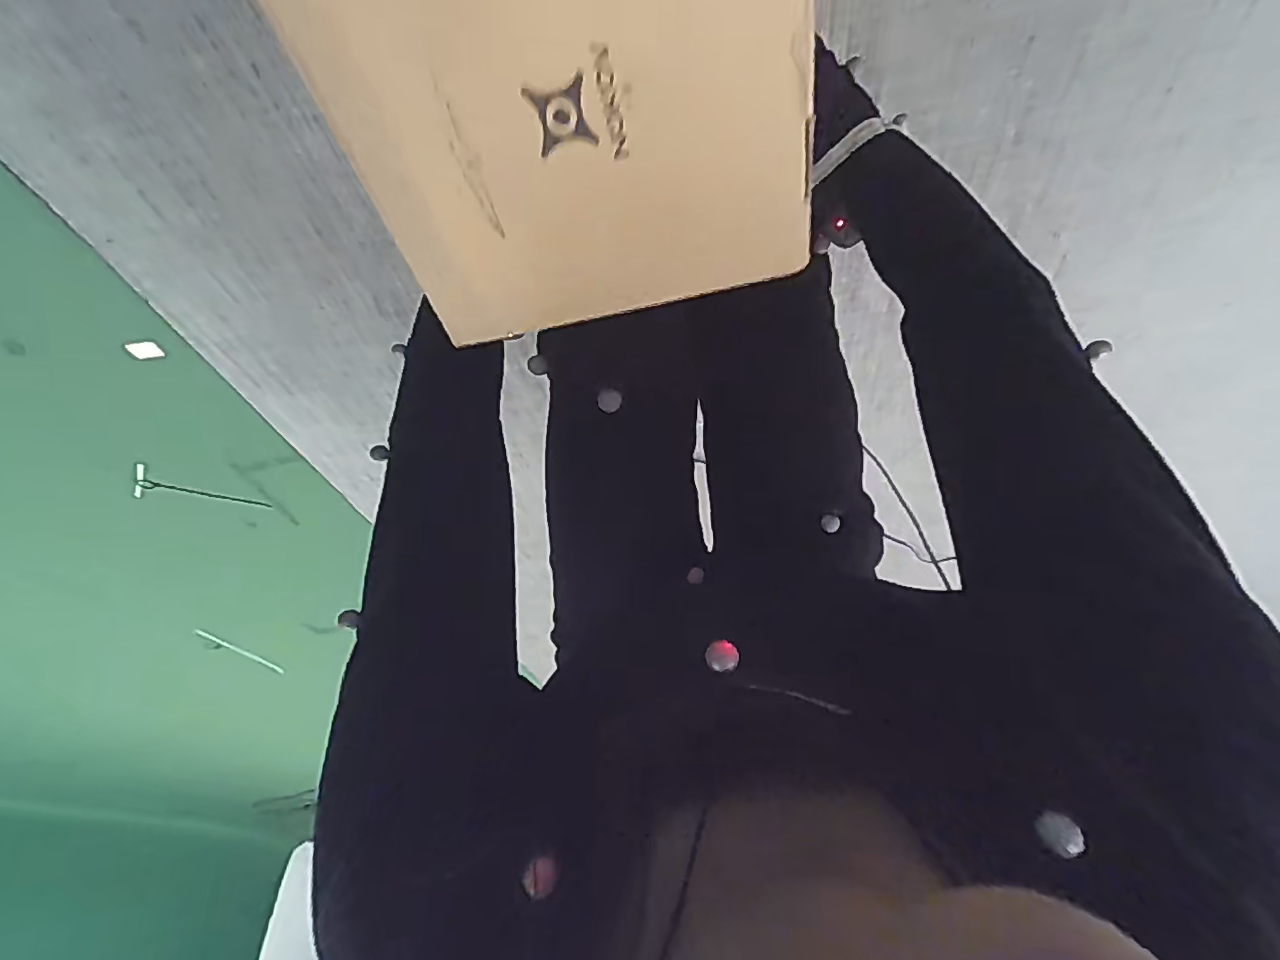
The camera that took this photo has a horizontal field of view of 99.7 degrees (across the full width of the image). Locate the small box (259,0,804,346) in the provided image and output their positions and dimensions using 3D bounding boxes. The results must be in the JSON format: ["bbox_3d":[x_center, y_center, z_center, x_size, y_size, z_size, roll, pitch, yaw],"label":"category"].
[{"bbox_3d":[-0.030,-0.194,0.257,0.179,0.176,0.168,-9,140,8],"label":"small box"}]
